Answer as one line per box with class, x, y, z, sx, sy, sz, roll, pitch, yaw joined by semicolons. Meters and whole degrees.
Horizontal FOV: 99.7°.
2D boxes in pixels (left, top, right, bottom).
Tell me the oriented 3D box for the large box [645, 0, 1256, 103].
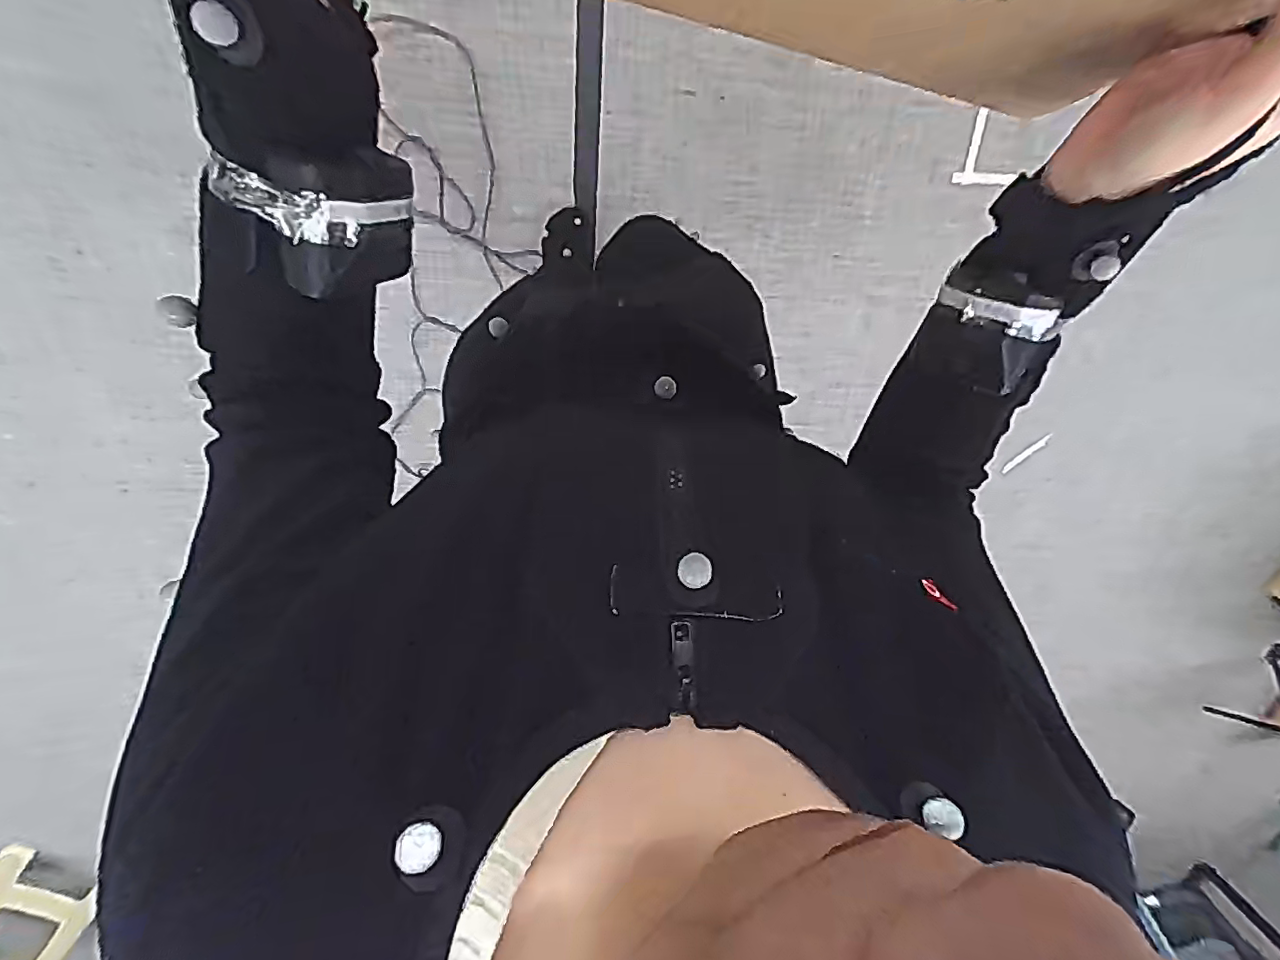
large box;0.103;-0.373;0.140;0.408;0.320;0.320;5;105;-12
